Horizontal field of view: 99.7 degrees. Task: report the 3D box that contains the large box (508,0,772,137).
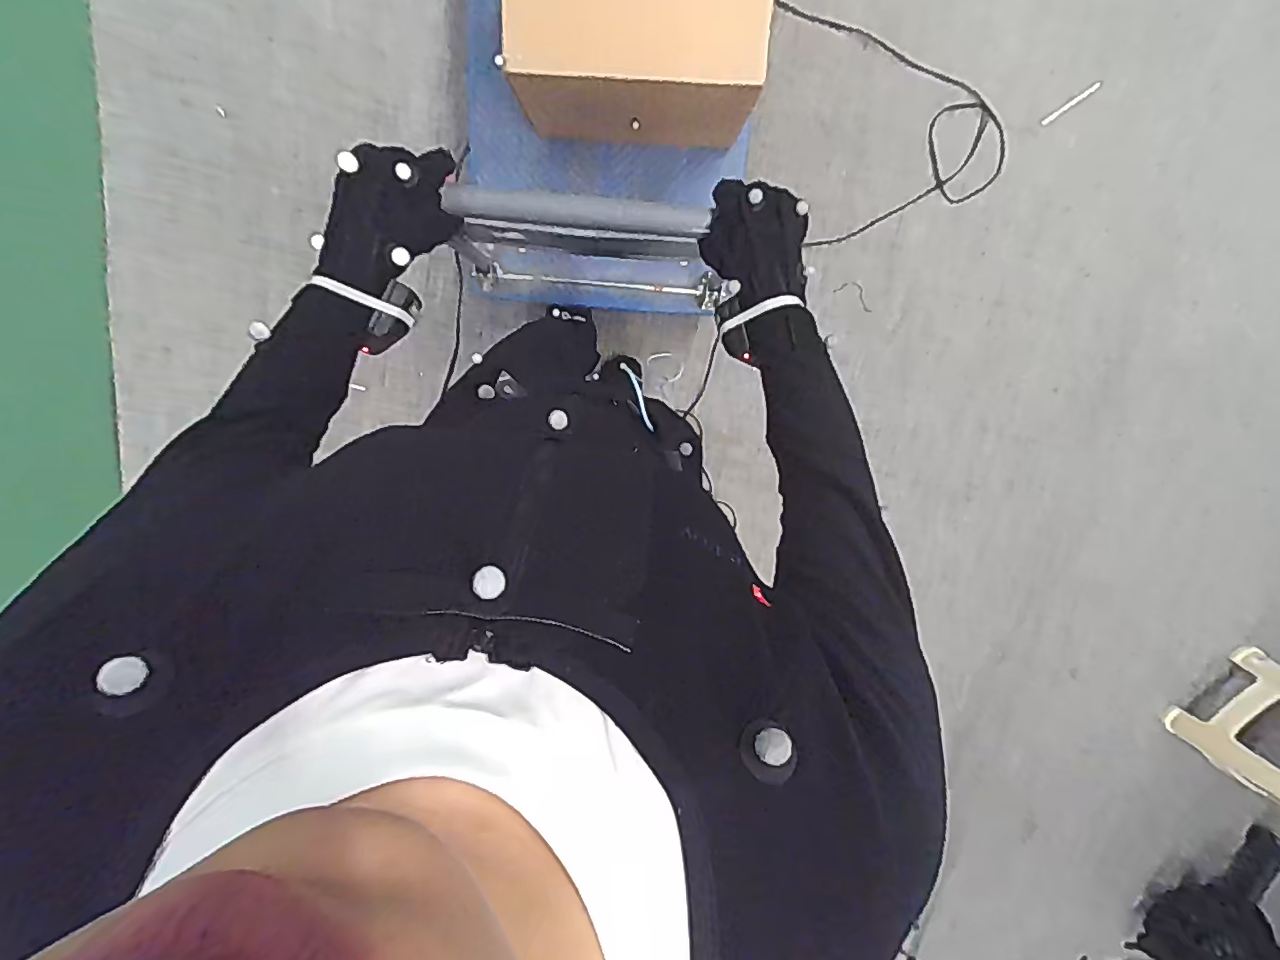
[{"bbox_3d":[0.007,-0.817,0.935,0.408,0.320,0.320,3,106,0],"label":"large box"}]
